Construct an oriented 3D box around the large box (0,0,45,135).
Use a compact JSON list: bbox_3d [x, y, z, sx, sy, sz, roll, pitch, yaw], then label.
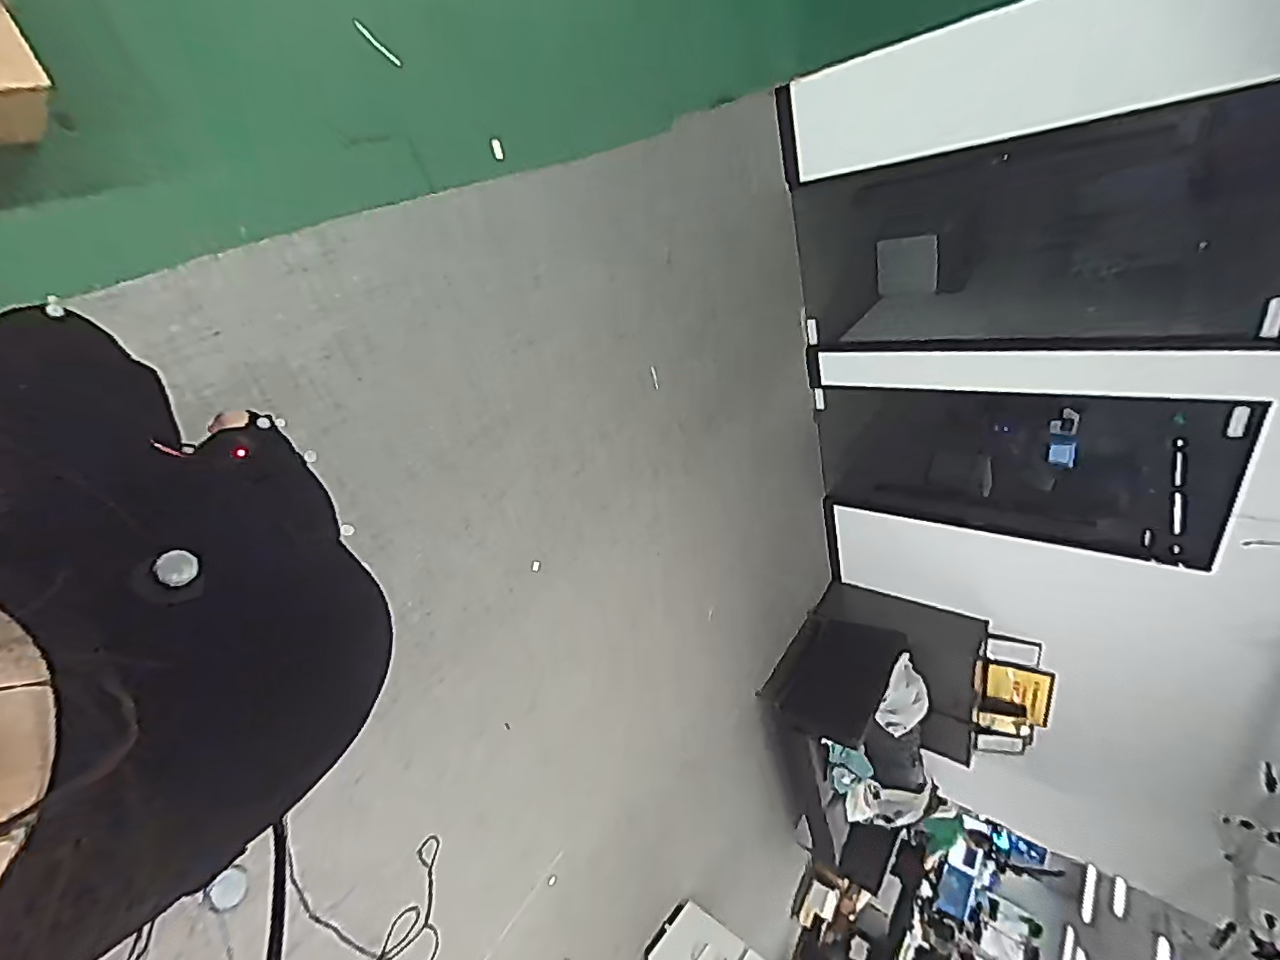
[{"bbox_3d":[-1.124,-0.627,0.683,0.408,0.320,0.320,-41,128,-37],"label":"large box"}]
